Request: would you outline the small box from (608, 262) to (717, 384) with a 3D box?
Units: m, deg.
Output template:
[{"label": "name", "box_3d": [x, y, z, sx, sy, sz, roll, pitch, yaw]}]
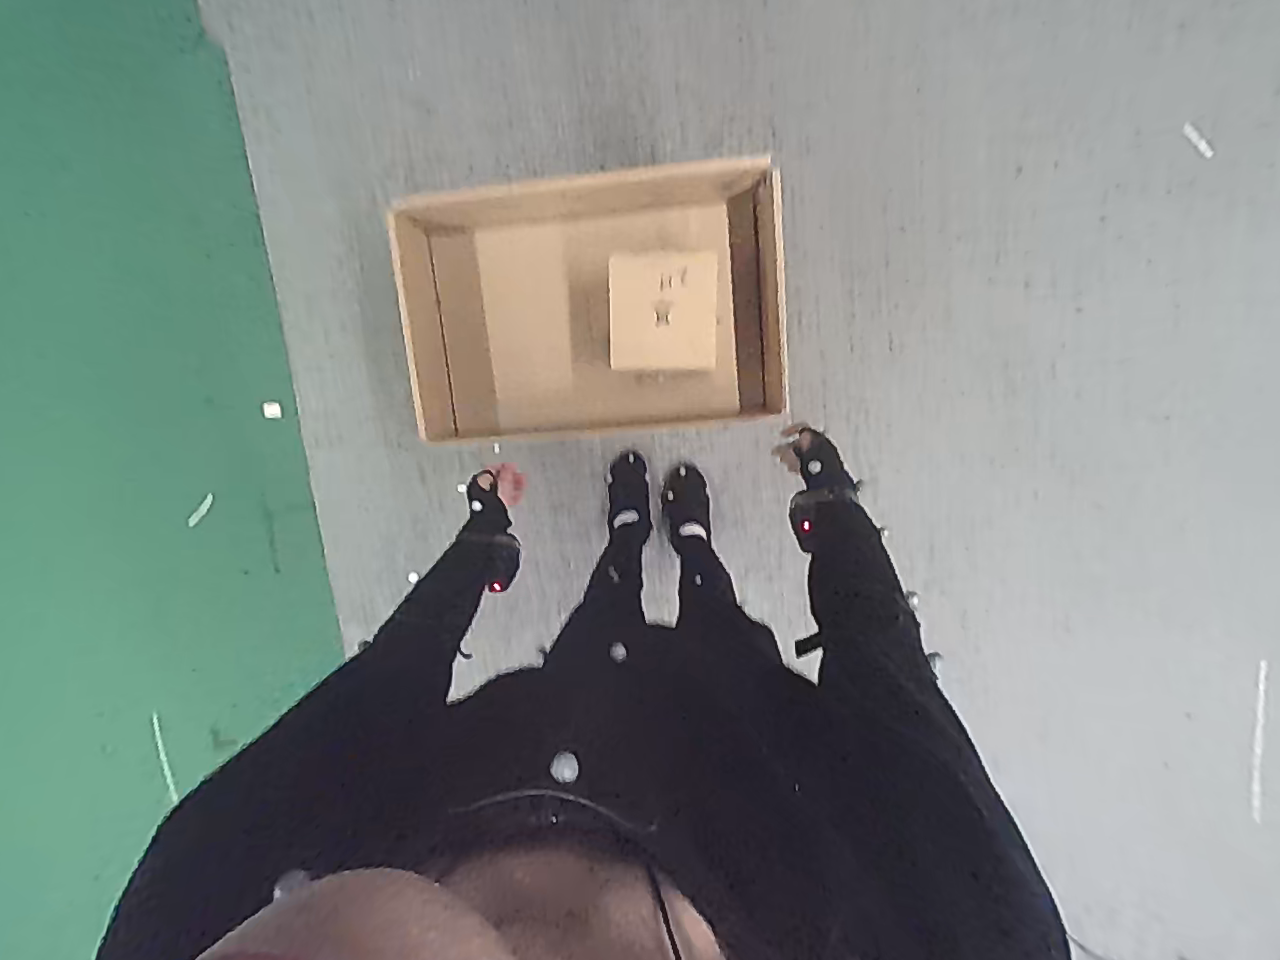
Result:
[{"label": "small box", "box_3d": [0.038, -0.251, 0.897, 0.168, 0.176, 0.179, 1, 98, 3]}]
